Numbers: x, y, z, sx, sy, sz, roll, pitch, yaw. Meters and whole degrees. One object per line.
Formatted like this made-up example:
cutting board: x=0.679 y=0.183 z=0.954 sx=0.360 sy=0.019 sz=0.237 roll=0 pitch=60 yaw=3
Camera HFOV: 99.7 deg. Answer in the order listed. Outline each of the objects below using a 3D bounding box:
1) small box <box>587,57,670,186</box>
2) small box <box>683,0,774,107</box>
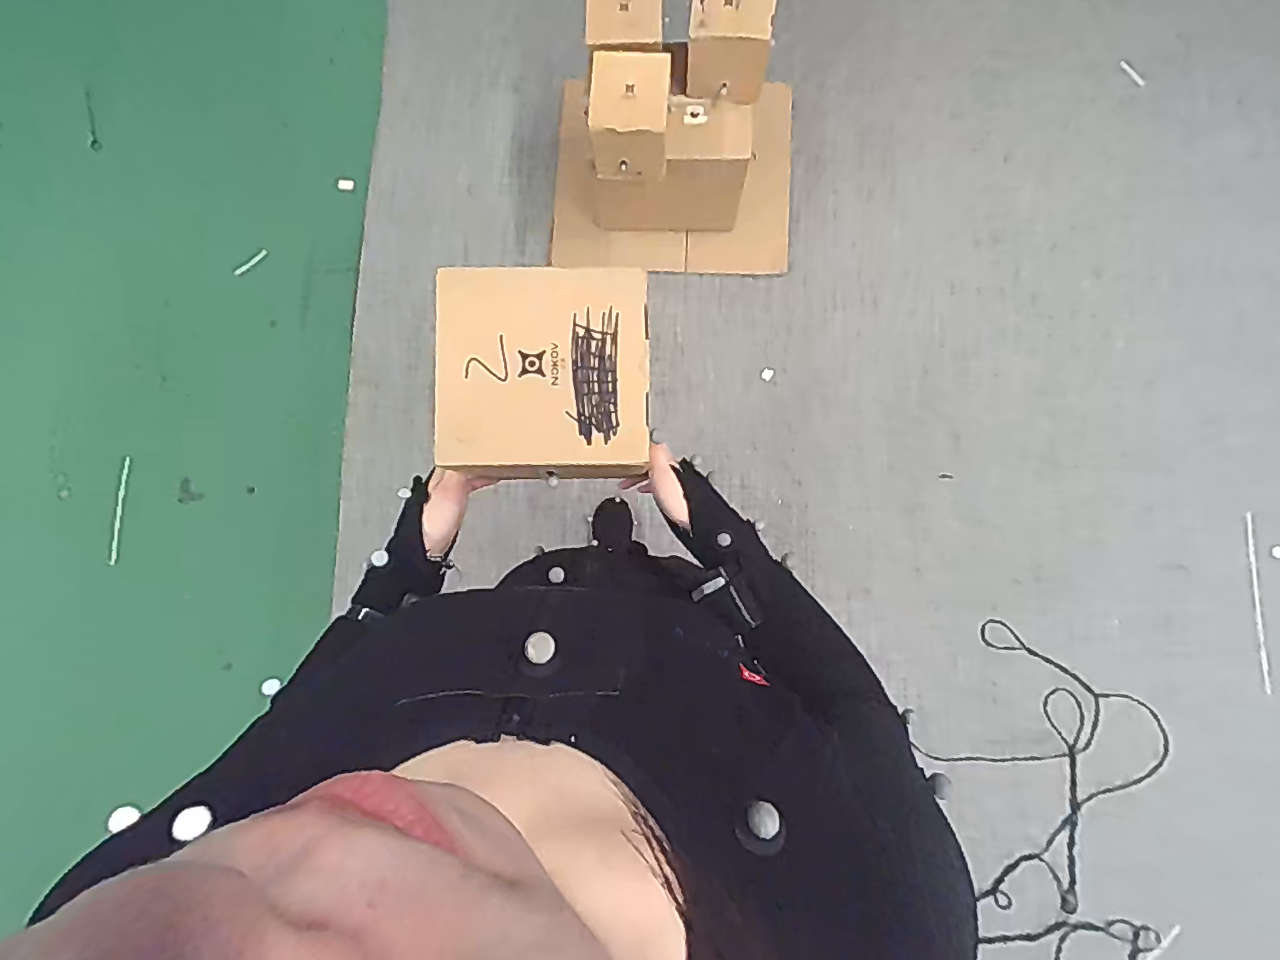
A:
small box: x=-0.023 y=-0.800 z=1.217 sx=0.168 sy=0.176 sz=0.179 roll=3 pitch=86 yaw=2
small box: x=0.196 y=-0.988 z=1.227 sx=0.179 sy=0.176 sz=0.168 roll=6 pitch=84 yaw=3
